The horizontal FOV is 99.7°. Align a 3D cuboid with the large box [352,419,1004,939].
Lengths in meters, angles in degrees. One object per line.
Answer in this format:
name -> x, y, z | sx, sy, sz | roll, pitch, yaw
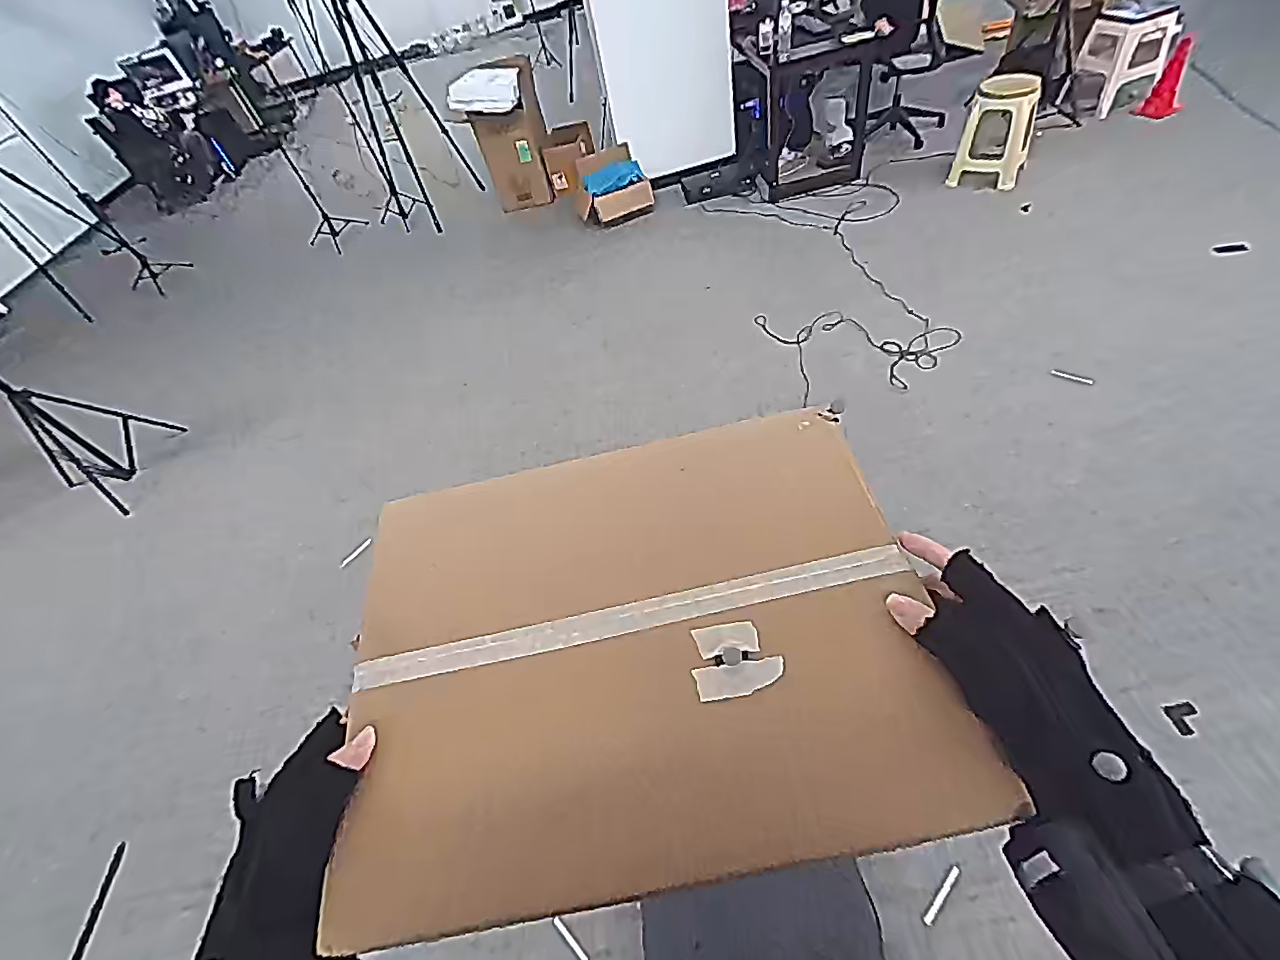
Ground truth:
large box -> 0.017, 0.193, 0.523 | 0.408, 0.320, 0.320 | -12, 54, 1
